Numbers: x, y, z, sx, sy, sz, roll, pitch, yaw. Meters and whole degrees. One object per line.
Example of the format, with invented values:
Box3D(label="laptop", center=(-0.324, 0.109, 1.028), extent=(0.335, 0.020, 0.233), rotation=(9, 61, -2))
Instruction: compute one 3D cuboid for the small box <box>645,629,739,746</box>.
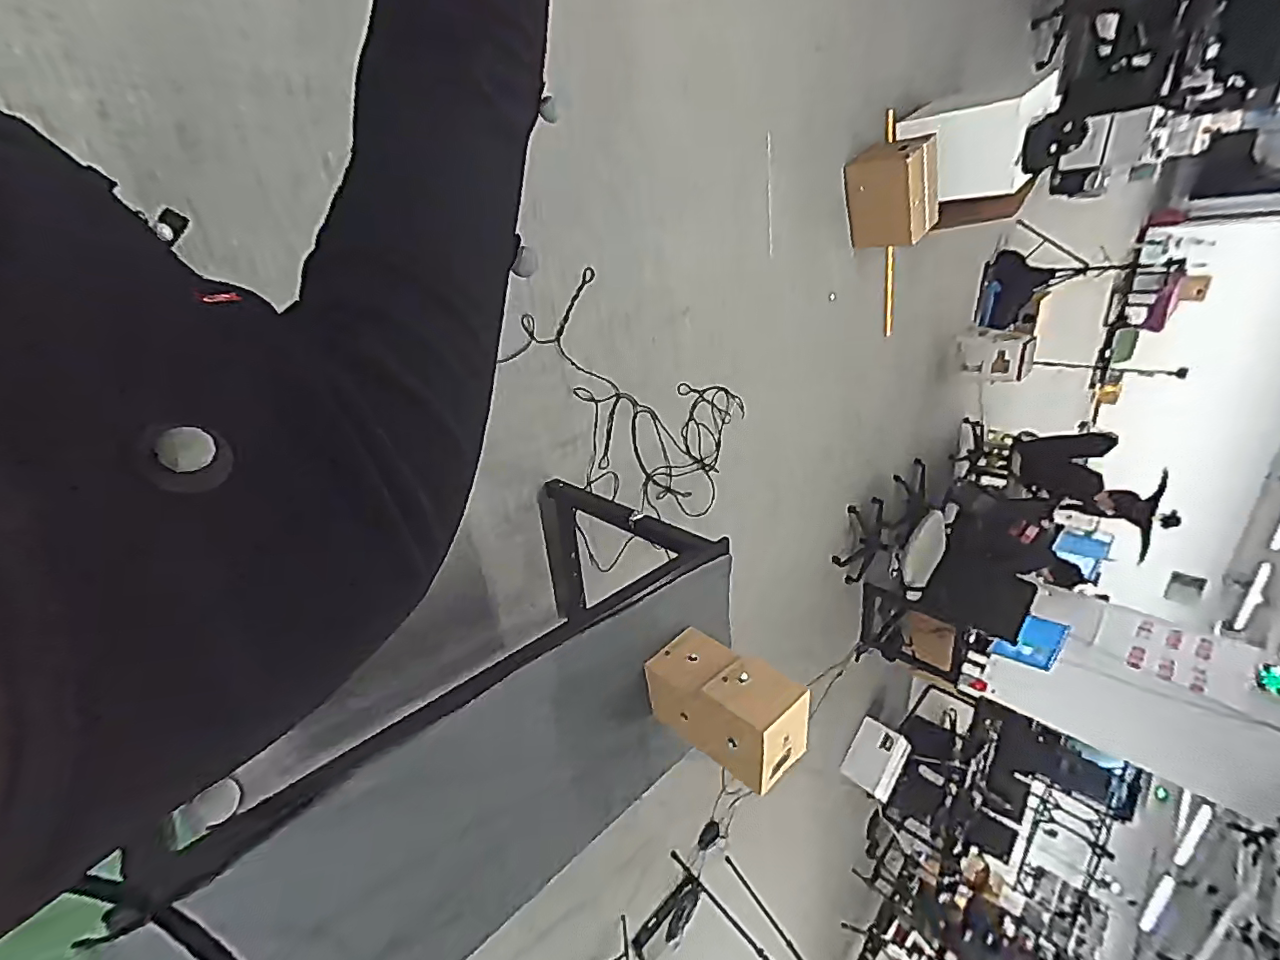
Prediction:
Box3D(label="small box", center=(0.128, 0.482, 1.292), extent=(0.168, 0.176, 0.179), rotation=(-29, 124, -34))

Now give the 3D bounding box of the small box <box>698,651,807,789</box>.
Box3D(label="small box", center=(0.238, 0.509, 1.172), extent=(0.168, 0.176, 0.179), rotation=(-21, 118, -38))
